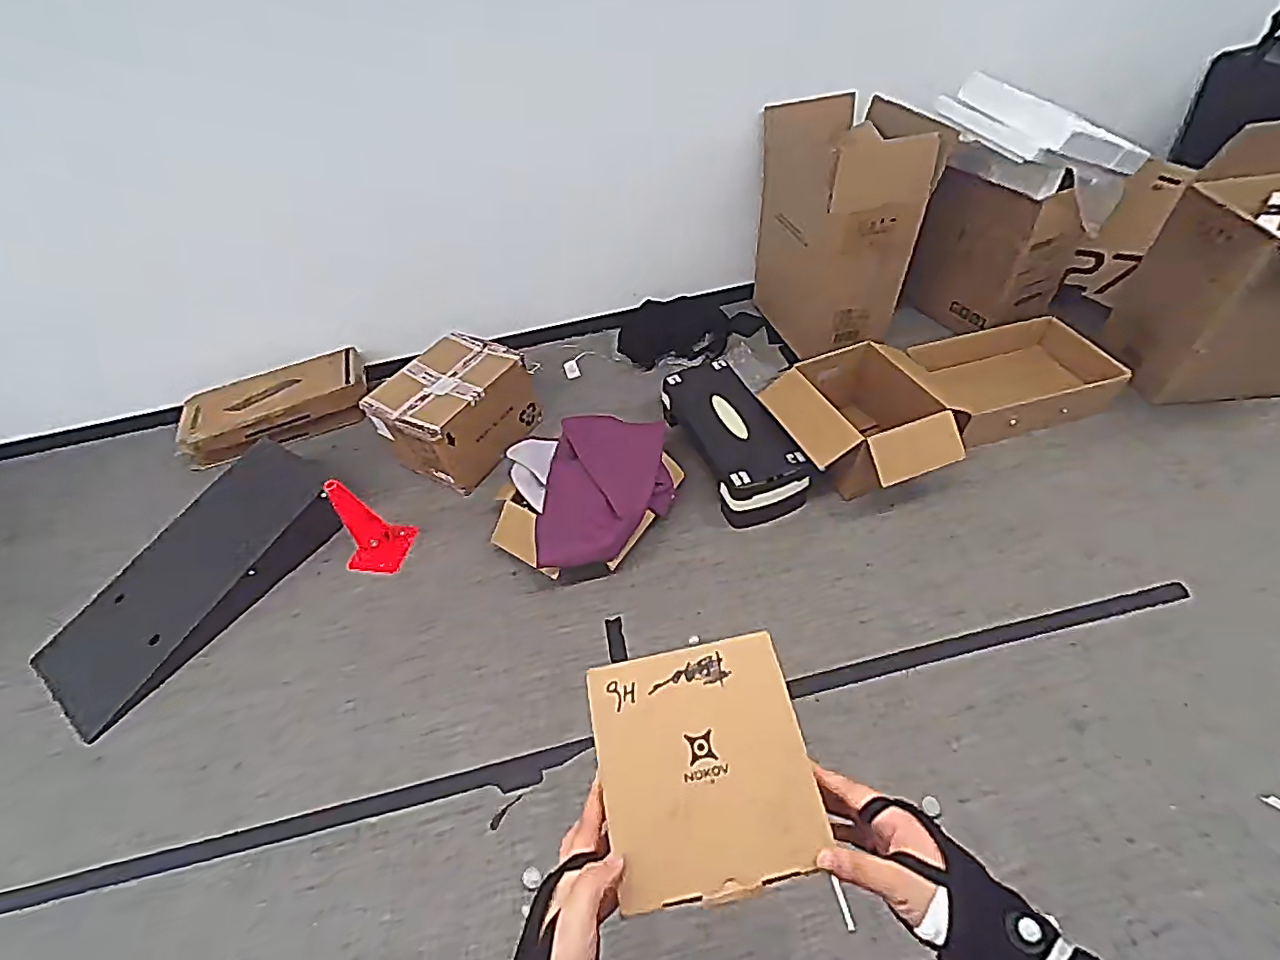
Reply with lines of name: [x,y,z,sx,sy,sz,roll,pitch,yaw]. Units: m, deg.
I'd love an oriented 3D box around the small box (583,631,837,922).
small box: [0.053,0.256,0.492,0.168,0.176,0.179,-13,62,-3]
